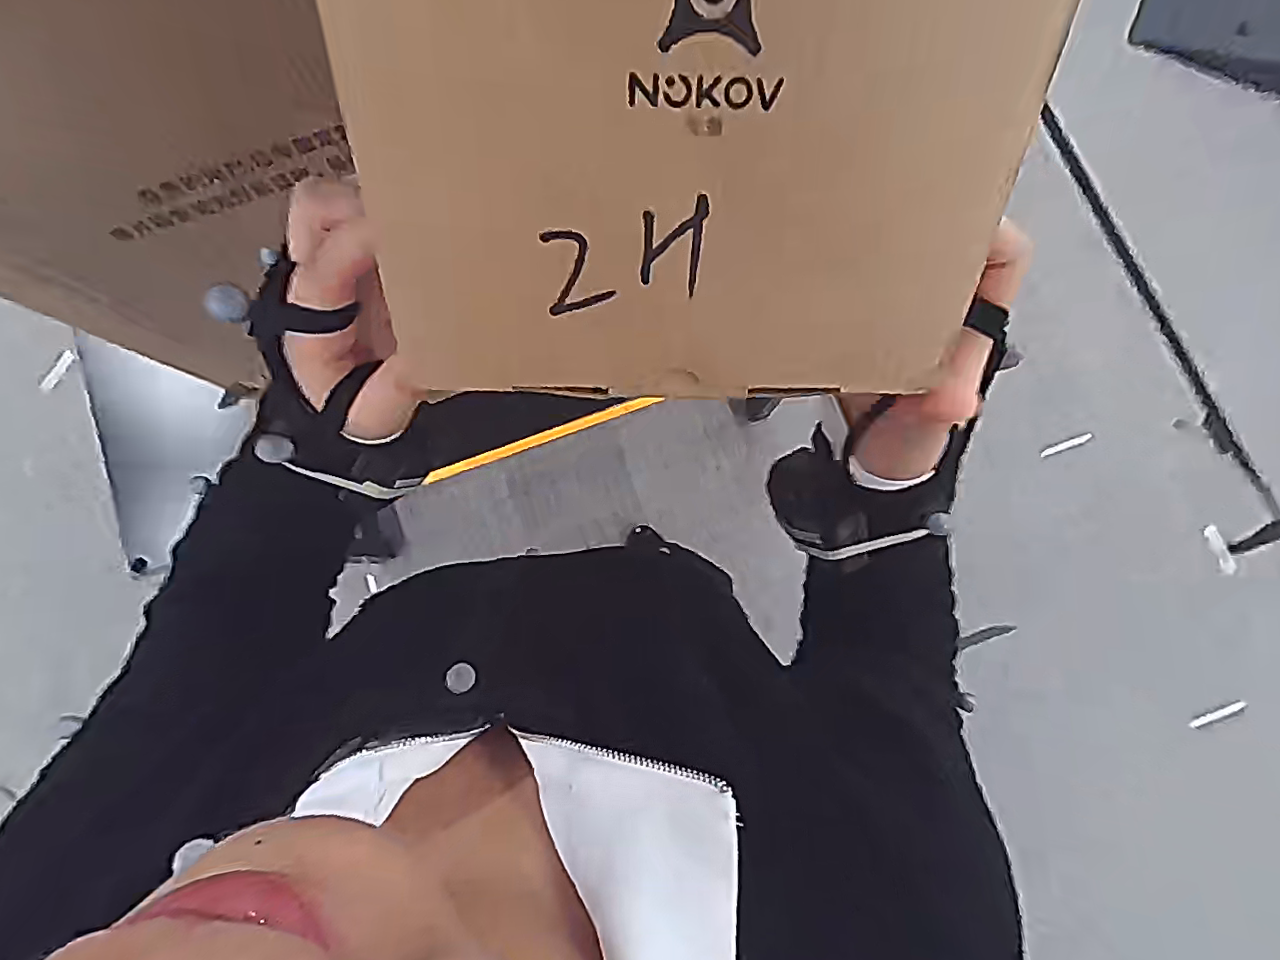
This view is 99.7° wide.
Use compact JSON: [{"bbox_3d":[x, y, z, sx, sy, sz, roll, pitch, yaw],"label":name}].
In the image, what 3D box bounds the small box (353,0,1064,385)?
[{"bbox_3d":[0.013,-0.149,0.194,0.168,0.176,0.179,1,124,-3],"label":"small box"}]
